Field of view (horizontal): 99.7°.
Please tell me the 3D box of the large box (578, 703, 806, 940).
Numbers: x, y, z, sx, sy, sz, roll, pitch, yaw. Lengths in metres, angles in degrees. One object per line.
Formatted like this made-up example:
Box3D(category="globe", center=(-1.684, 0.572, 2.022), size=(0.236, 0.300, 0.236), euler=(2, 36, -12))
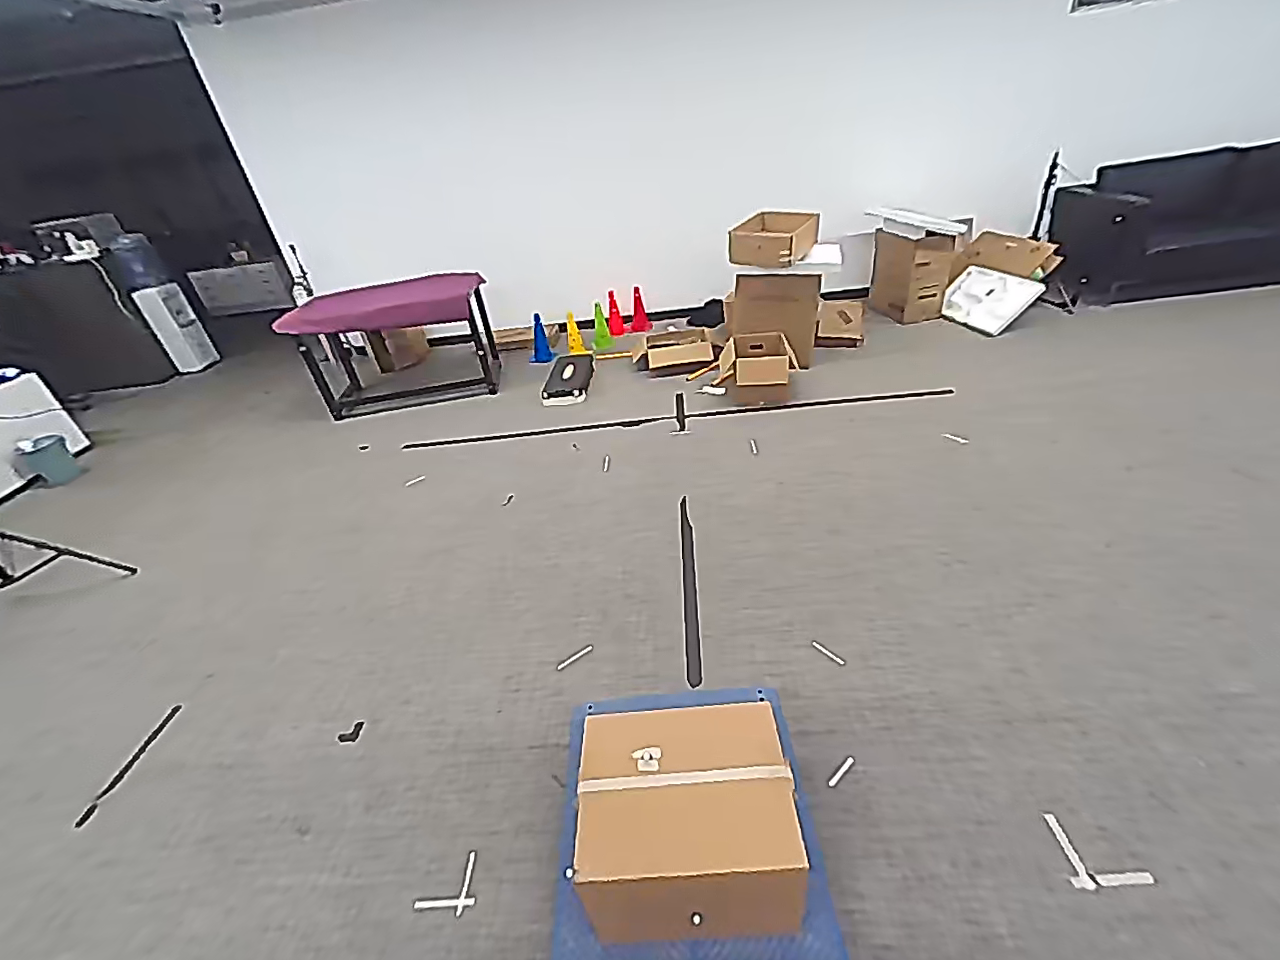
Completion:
Box3D(category="large box", center=(0.105, 0.717, 1.140), size=(0.408, 0.320, 0.320), euler=(-7, 33, 3))
